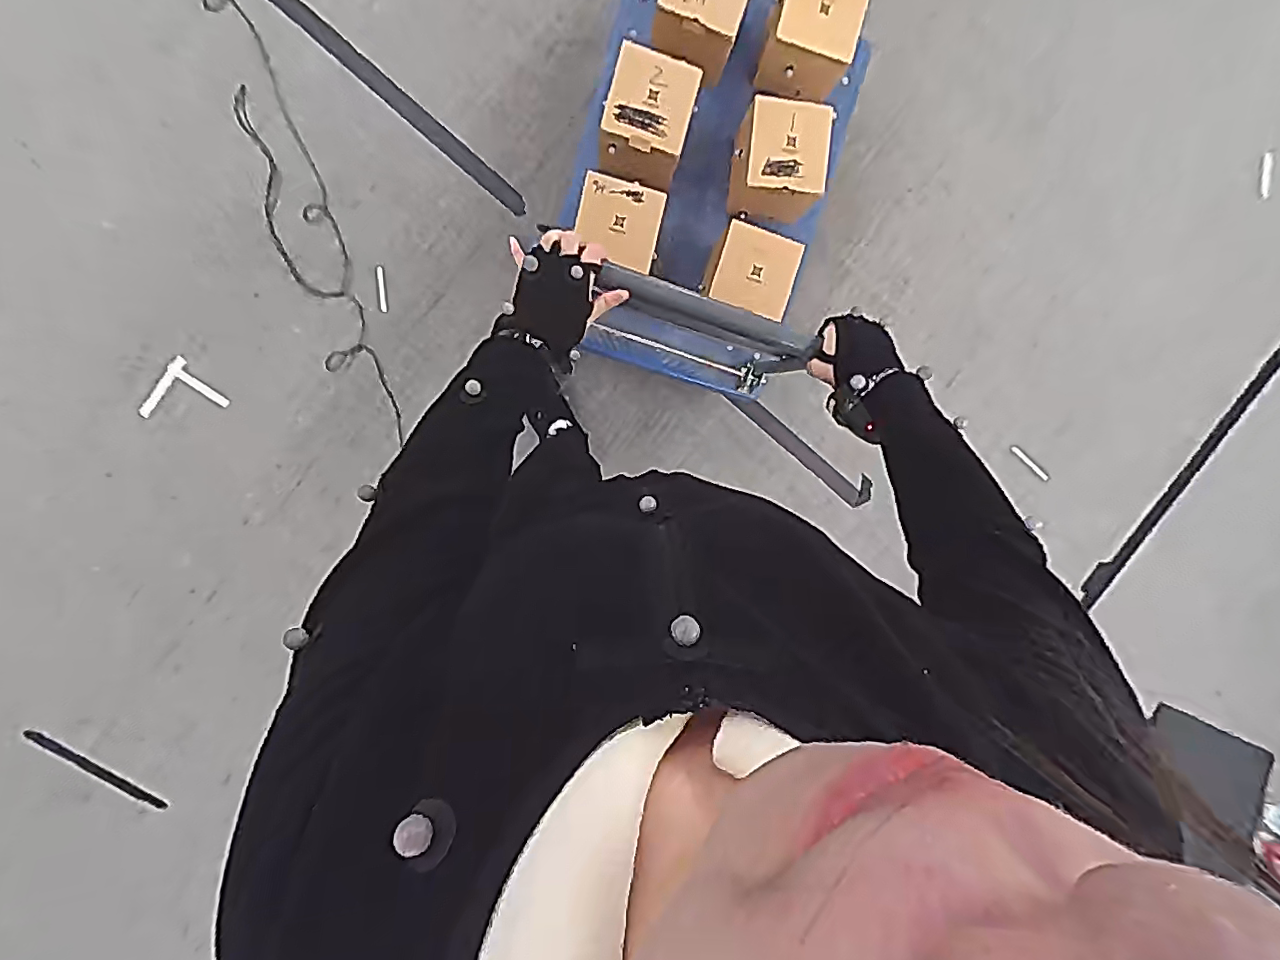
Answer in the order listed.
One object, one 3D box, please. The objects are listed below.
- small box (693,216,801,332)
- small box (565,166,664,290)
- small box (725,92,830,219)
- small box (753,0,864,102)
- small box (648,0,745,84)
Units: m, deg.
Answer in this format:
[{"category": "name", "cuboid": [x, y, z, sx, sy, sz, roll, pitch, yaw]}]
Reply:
[{"category": "small box", "cuboid": [0.226, -0.444, 1.199, 0.168, 0.176, 0.179, 17, 93, -8]}, {"category": "small box", "cuboid": [-0.058, -0.525, 1.157, 0.168, 0.176, 0.179, 13, 95, -8]}, {"category": "small box", "cuboid": [0.290, -0.694, 1.178, 0.168, 0.176, 0.179, 5, 95, -7]}, {"category": "small box", "cuboid": [0.355, -0.957, 1.157, 0.168, 0.176, 0.179, 14, 94, -7]}, {"category": "small box", "cuboid": [0.124, -0.989, 1.126, 0.168, 0.176, 0.179, 19, 95, -8]}]
